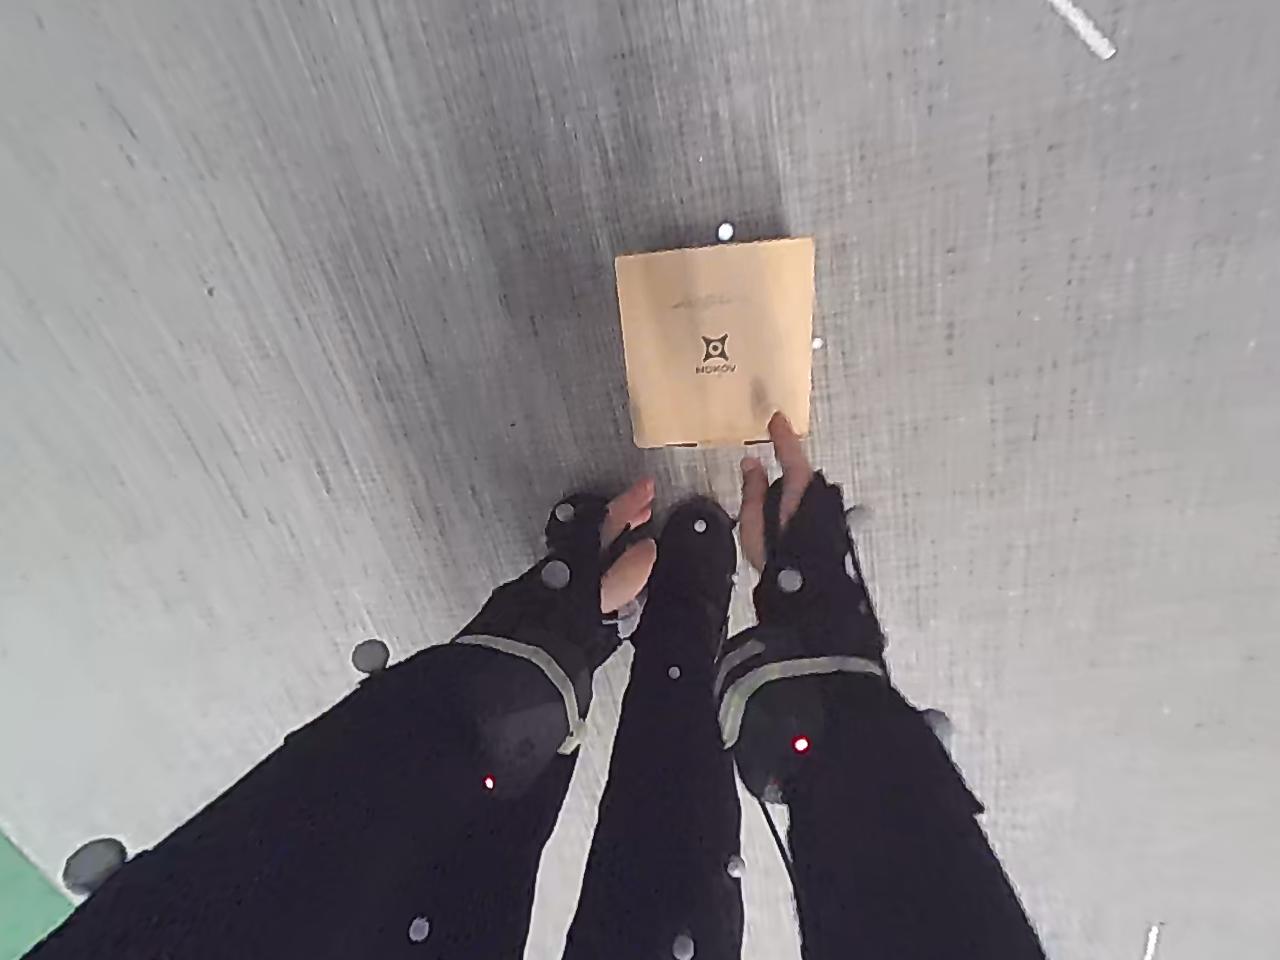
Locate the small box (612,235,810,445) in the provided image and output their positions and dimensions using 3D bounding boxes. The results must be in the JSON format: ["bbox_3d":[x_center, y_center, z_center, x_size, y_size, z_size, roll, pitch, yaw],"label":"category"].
[{"bbox_3d":[0.074,-0.147,0.549,0.168,0.176,0.179,-3,113,9],"label":"small box"}]
